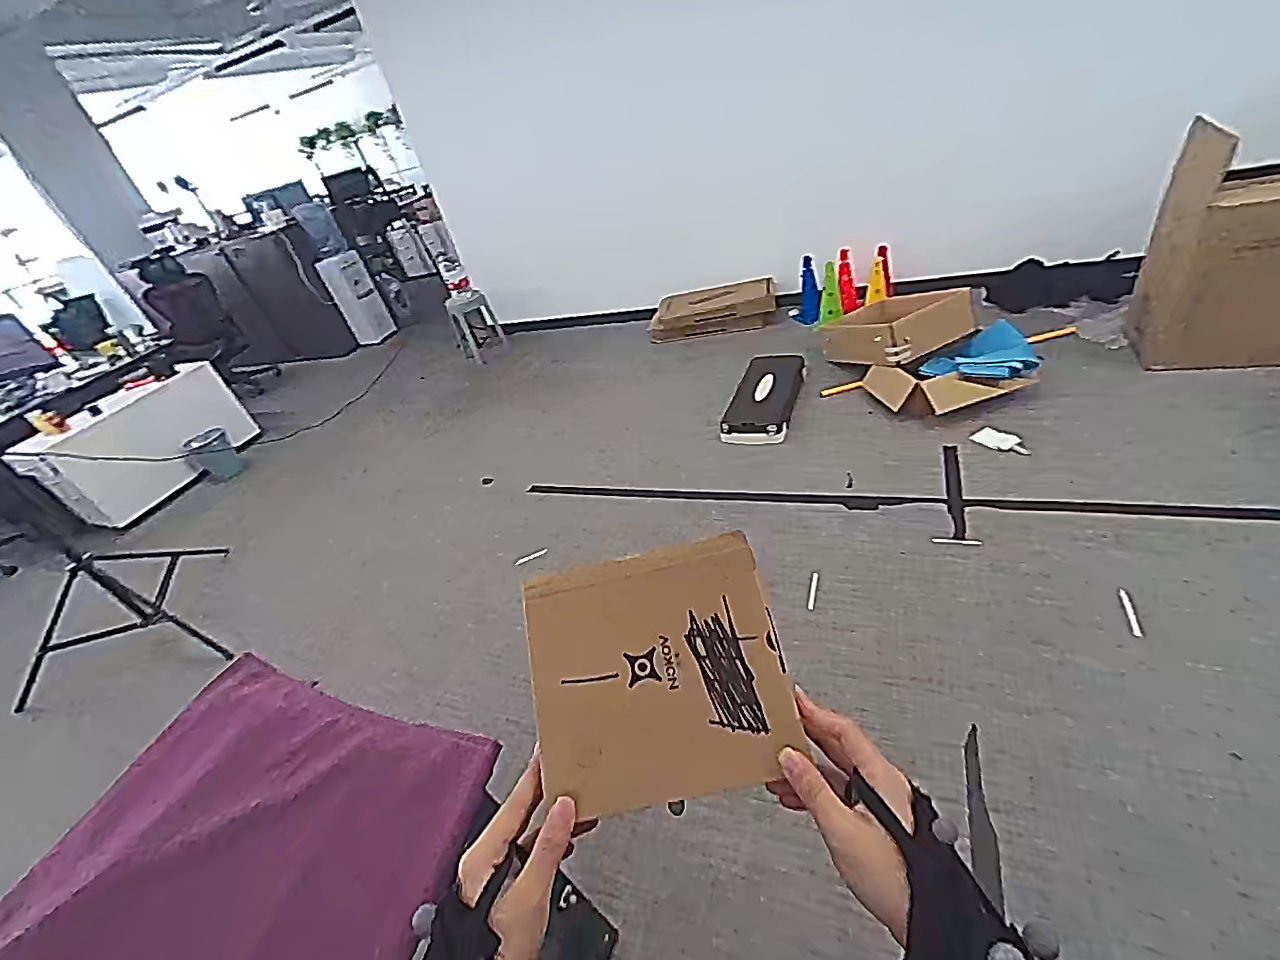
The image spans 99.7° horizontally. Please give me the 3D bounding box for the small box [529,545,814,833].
[{"bbox_3d":[0.021,0.170,0.452,0.179,0.176,0.168,-13,64,1],"label":"small box"}]
